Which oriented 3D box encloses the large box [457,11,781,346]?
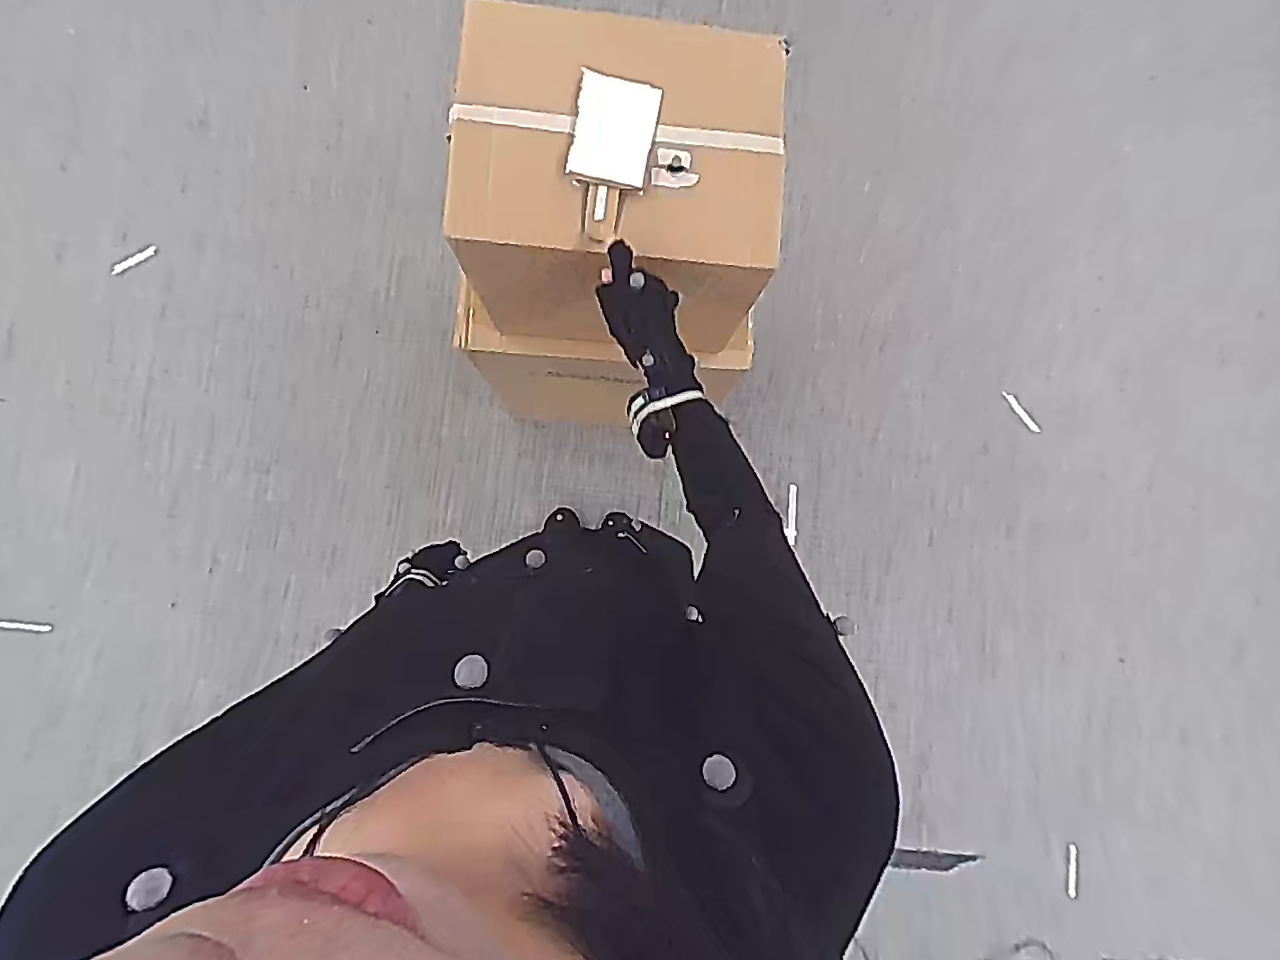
[{"bbox_3d":[-0.032,-0.416,0.827,0.408,0.320,0.320,4,84,-5],"label":"large box"}]
